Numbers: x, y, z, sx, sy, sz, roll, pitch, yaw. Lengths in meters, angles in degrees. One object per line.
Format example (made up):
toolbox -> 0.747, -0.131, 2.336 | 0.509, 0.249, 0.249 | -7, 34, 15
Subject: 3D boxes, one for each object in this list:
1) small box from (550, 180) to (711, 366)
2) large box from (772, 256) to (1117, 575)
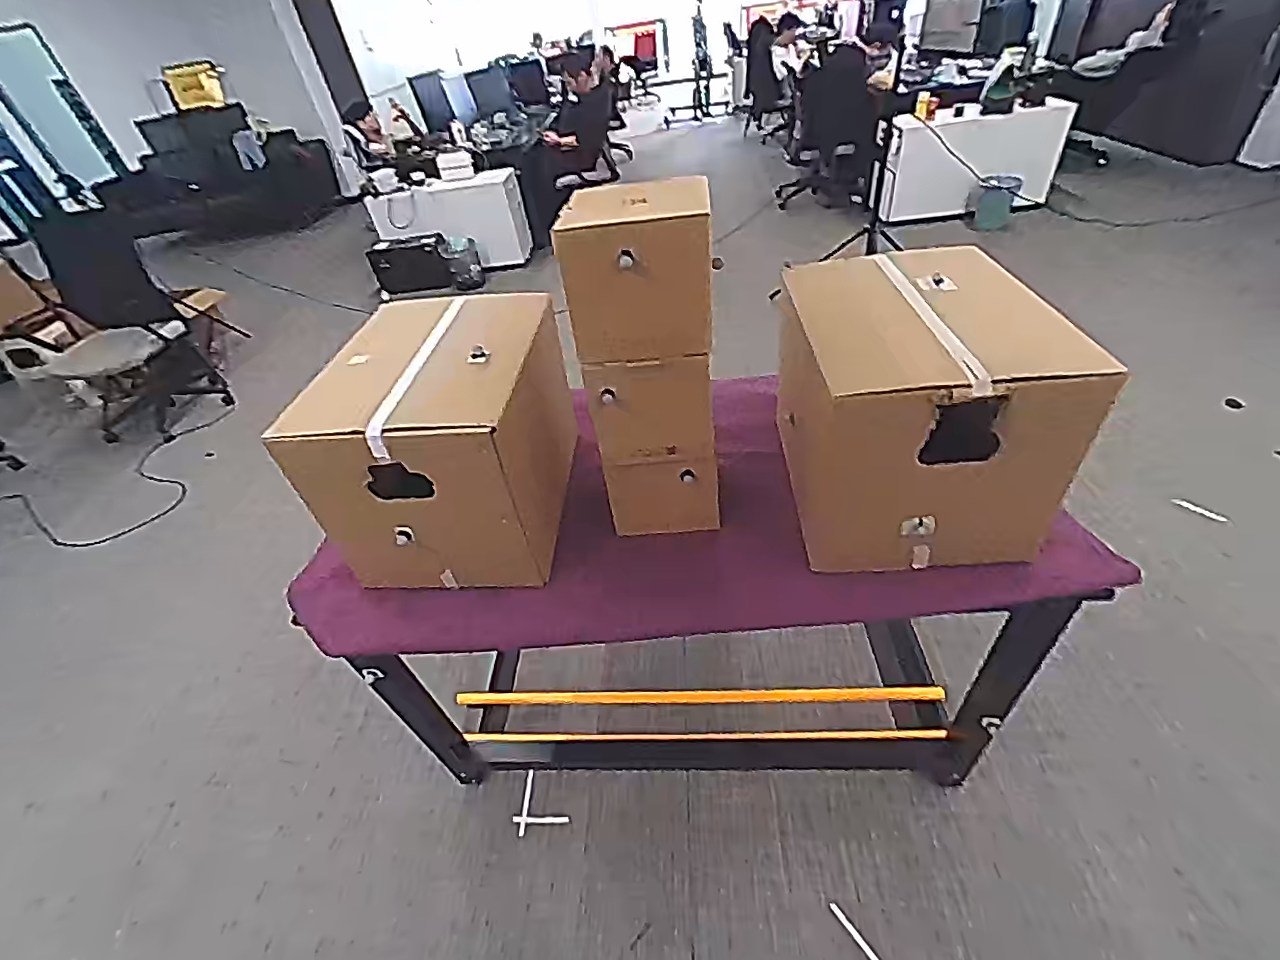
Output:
small box -> 0.001, -0.263, 0.694 | 0.179, 0.176, 0.168 | -4, 41, 8
large box -> 0.391, -0.110, 0.839 | 0.320, 0.320, 0.408 | -4, 40, 6
